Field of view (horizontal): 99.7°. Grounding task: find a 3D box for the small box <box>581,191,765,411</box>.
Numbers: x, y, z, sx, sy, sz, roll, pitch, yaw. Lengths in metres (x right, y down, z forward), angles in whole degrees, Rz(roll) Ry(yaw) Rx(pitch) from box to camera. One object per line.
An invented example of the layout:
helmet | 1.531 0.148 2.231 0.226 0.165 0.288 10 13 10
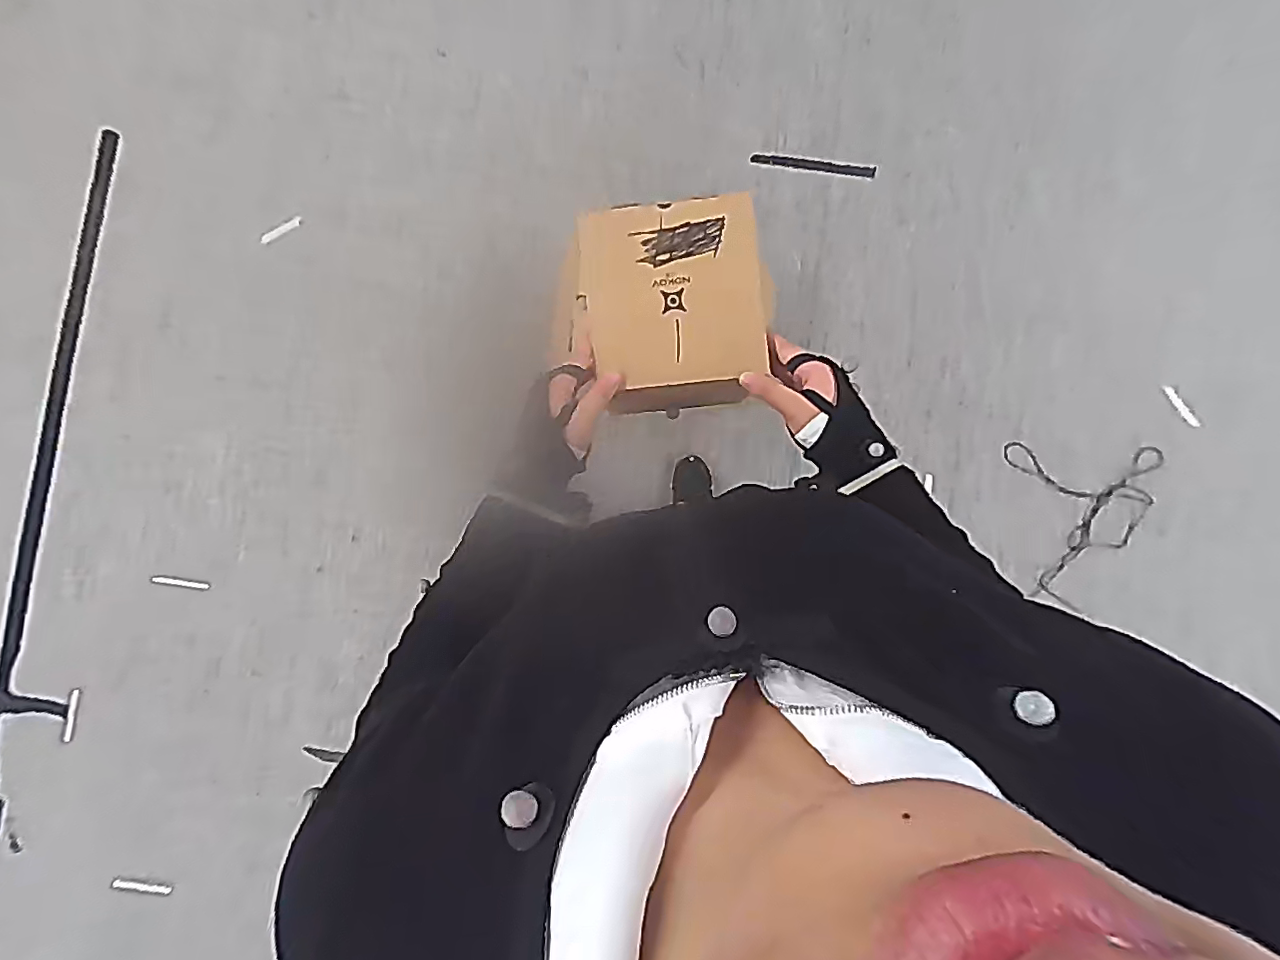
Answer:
small box | 0.031 -0.180 0.589 0.168 0.176 0.179 -5 90 1
